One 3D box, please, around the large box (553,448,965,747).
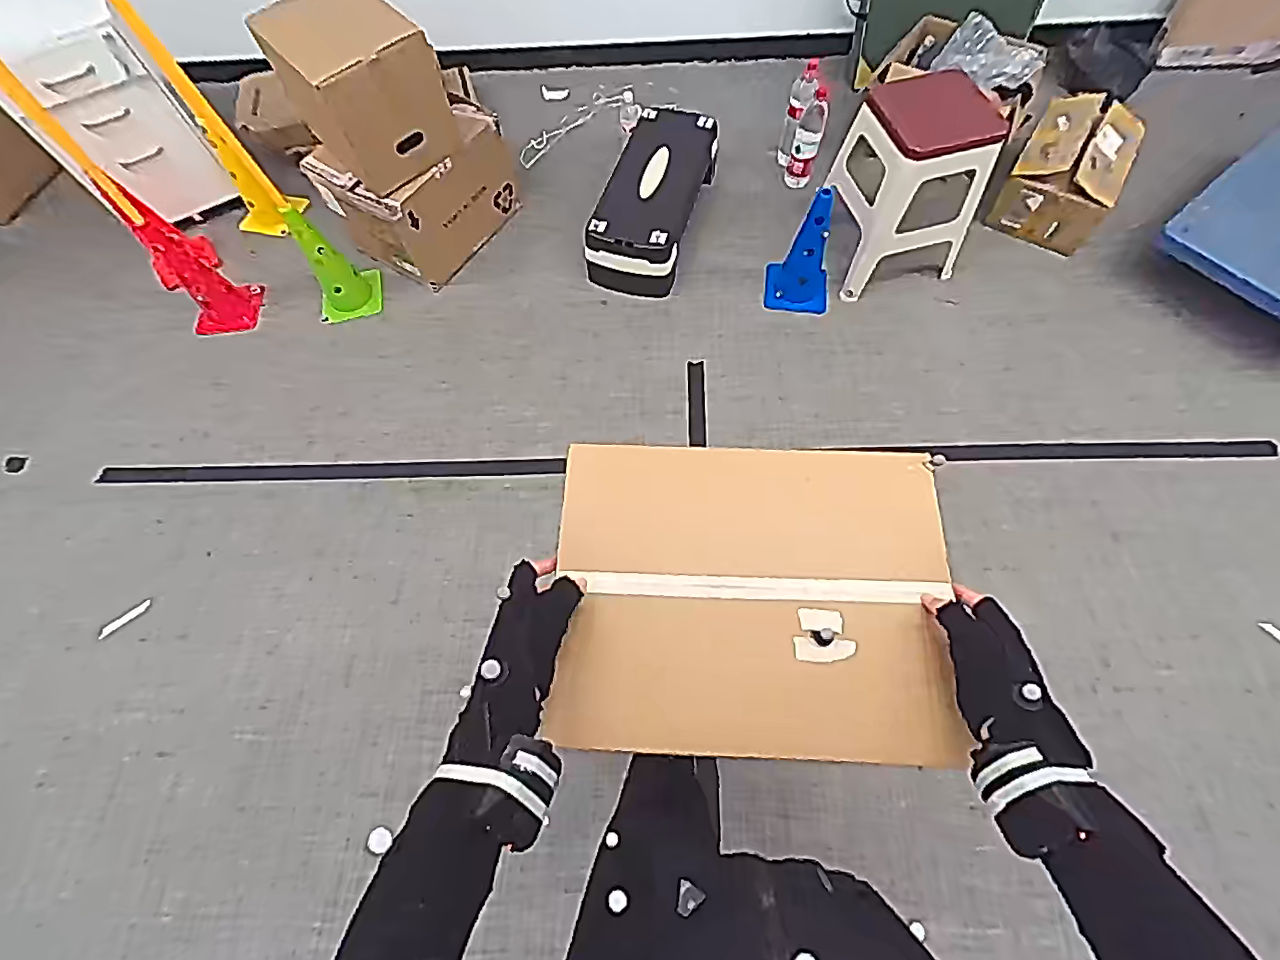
[{"bbox_3d":[0.116,0.163,0.709,0.408,0.320,0.320,1,69,1],"label":"large box"}]
